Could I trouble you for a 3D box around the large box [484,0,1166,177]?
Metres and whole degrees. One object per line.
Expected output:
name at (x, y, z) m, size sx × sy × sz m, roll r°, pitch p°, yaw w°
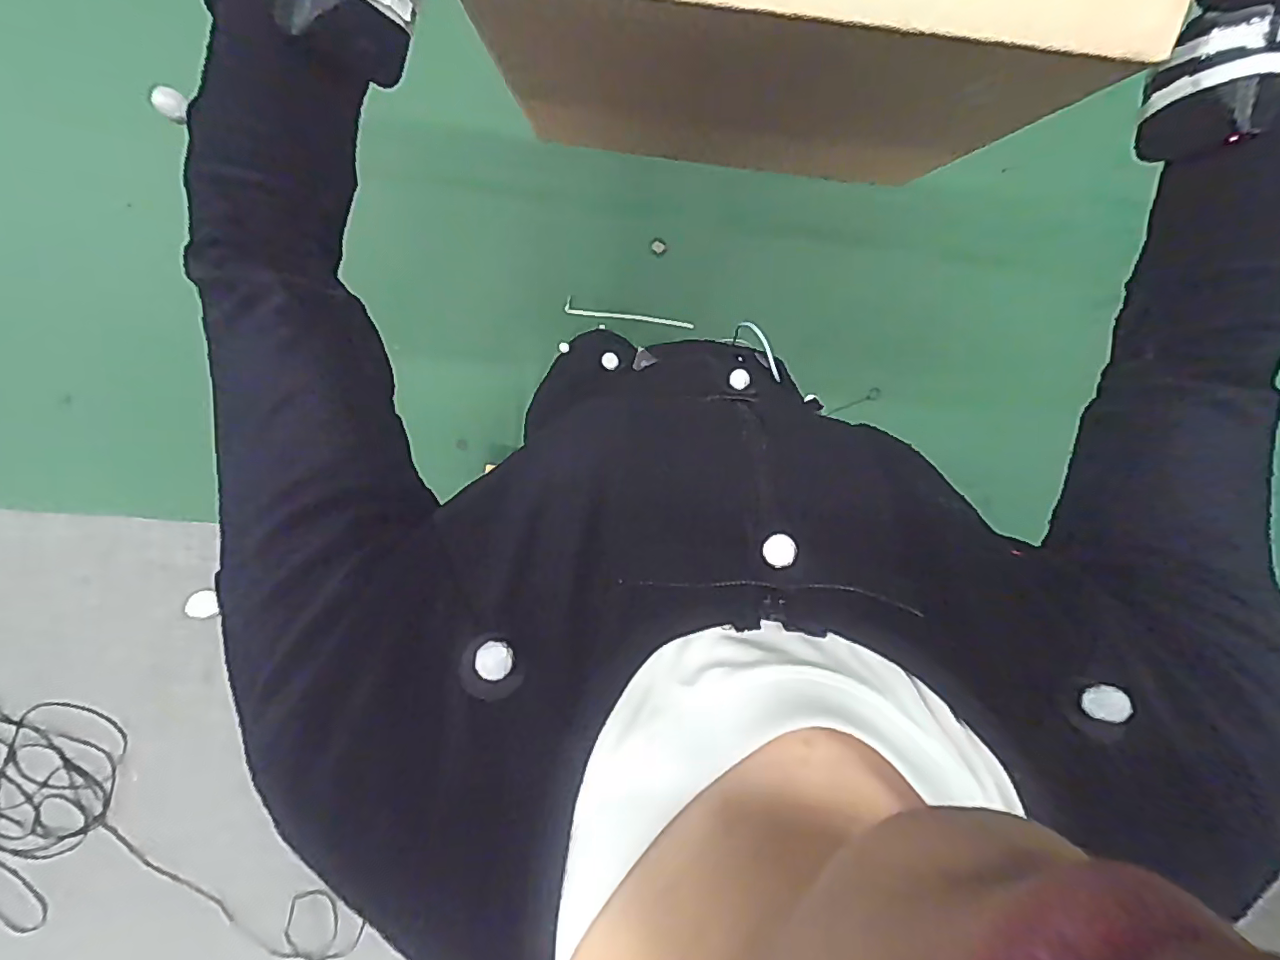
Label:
large box at (0.106, -0.451, 0.402) m, size 0.408 × 0.320 × 0.320 m, roll 5°, pitch 107°, yaw -4°
